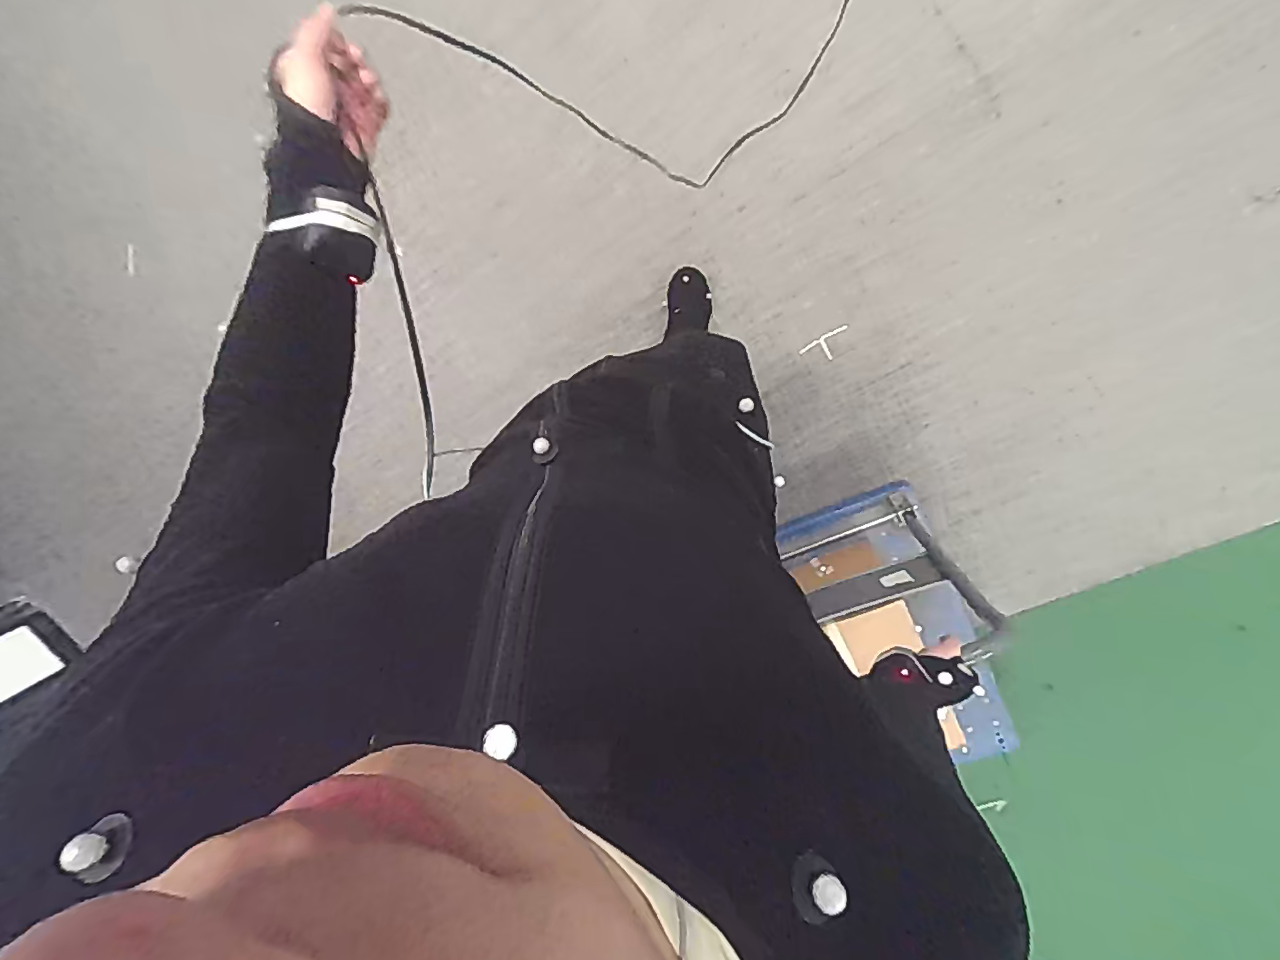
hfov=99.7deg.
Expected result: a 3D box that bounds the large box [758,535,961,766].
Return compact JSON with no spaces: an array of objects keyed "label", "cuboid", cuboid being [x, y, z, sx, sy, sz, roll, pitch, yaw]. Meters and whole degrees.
[{"label":"large box","cuboid":[0.525,0.414,1.360,0.320,0.320,0.408,-24,103,17]}]
